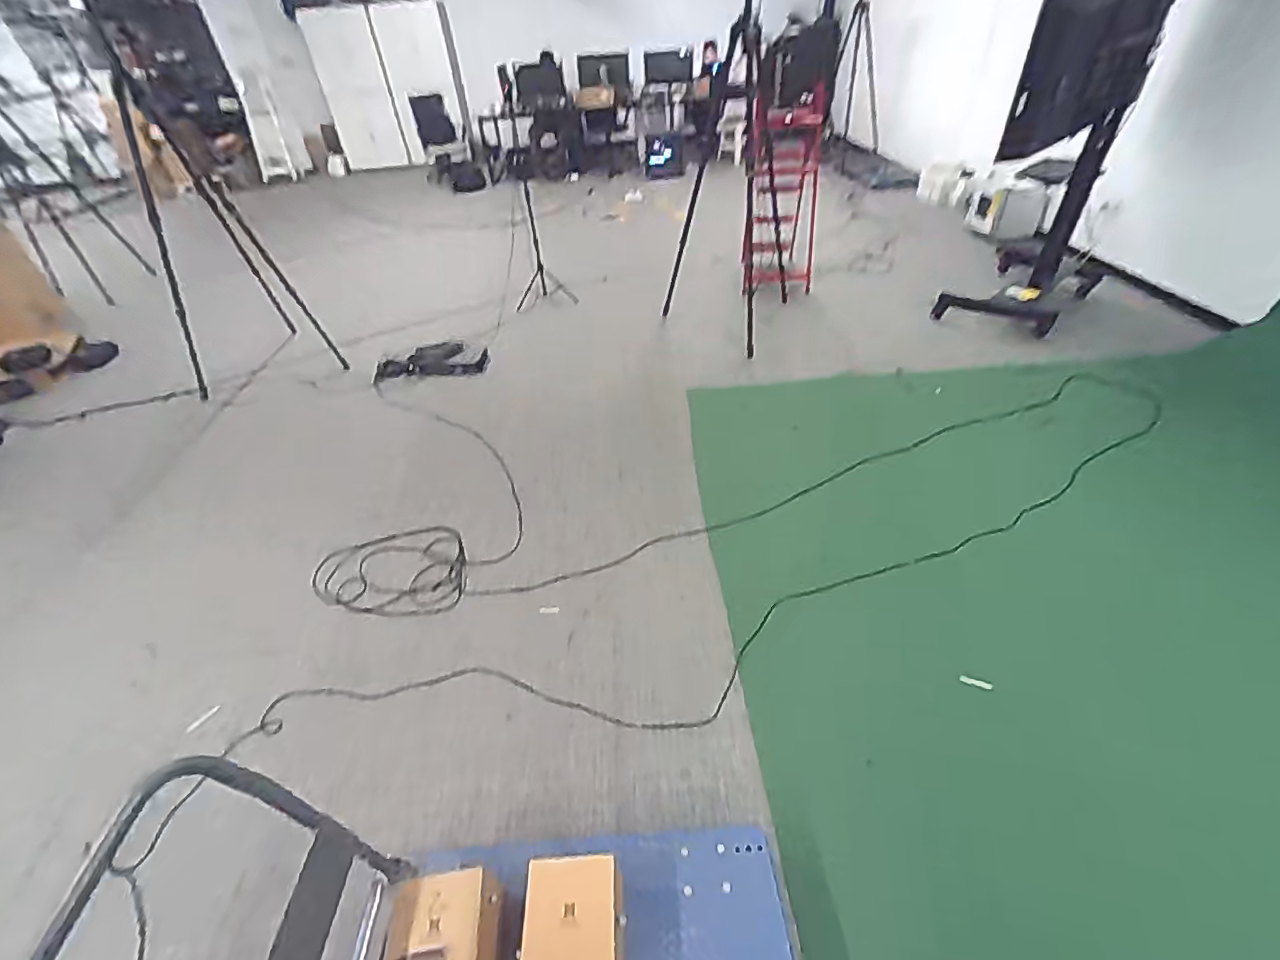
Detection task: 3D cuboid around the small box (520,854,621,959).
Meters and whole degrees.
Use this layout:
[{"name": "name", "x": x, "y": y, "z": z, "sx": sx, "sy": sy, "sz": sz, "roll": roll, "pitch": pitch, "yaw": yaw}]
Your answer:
[{"name": "small box", "x": -0.125, "y": 0.842, "z": 1.029, "sx": 0.168, "sy": 0.176, "sz": 0.179, "roll": -4, "pitch": 42, "yaw": 0}]
